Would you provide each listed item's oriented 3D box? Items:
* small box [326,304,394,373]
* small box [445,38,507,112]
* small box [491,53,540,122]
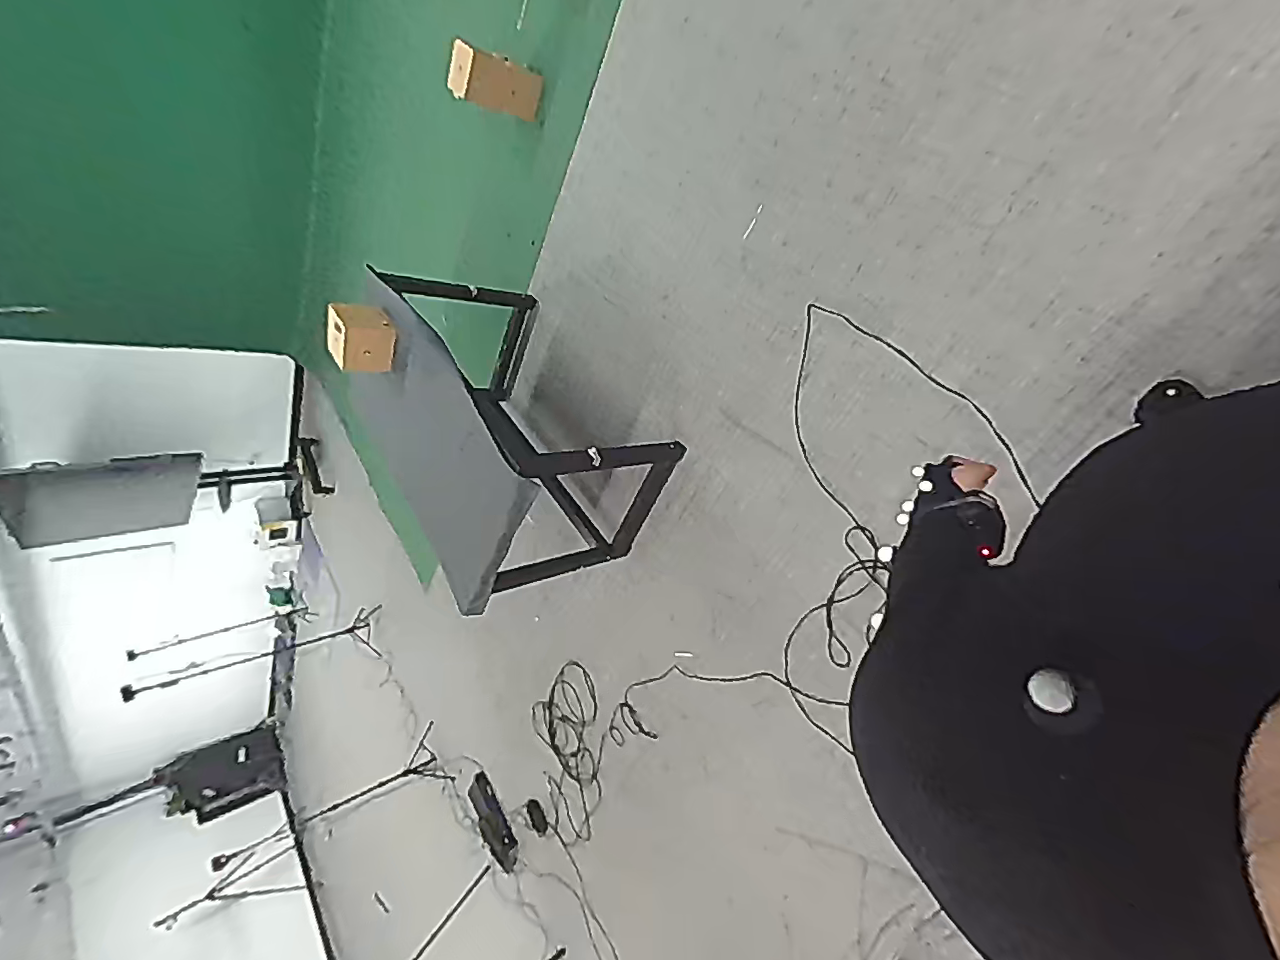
[{"bbox_3d":[-0.986,-0.498,1.909,0.168,0.176,0.179,47,129,28],"label":"small box"},{"bbox_3d":[-0.672,-1.657,2.222,0.168,0.176,0.179,49,126,27],"label":"small box"},{"bbox_3d":[-0.554,-1.686,2.331,0.168,0.176,0.179,47,126,28],"label":"small box"}]
